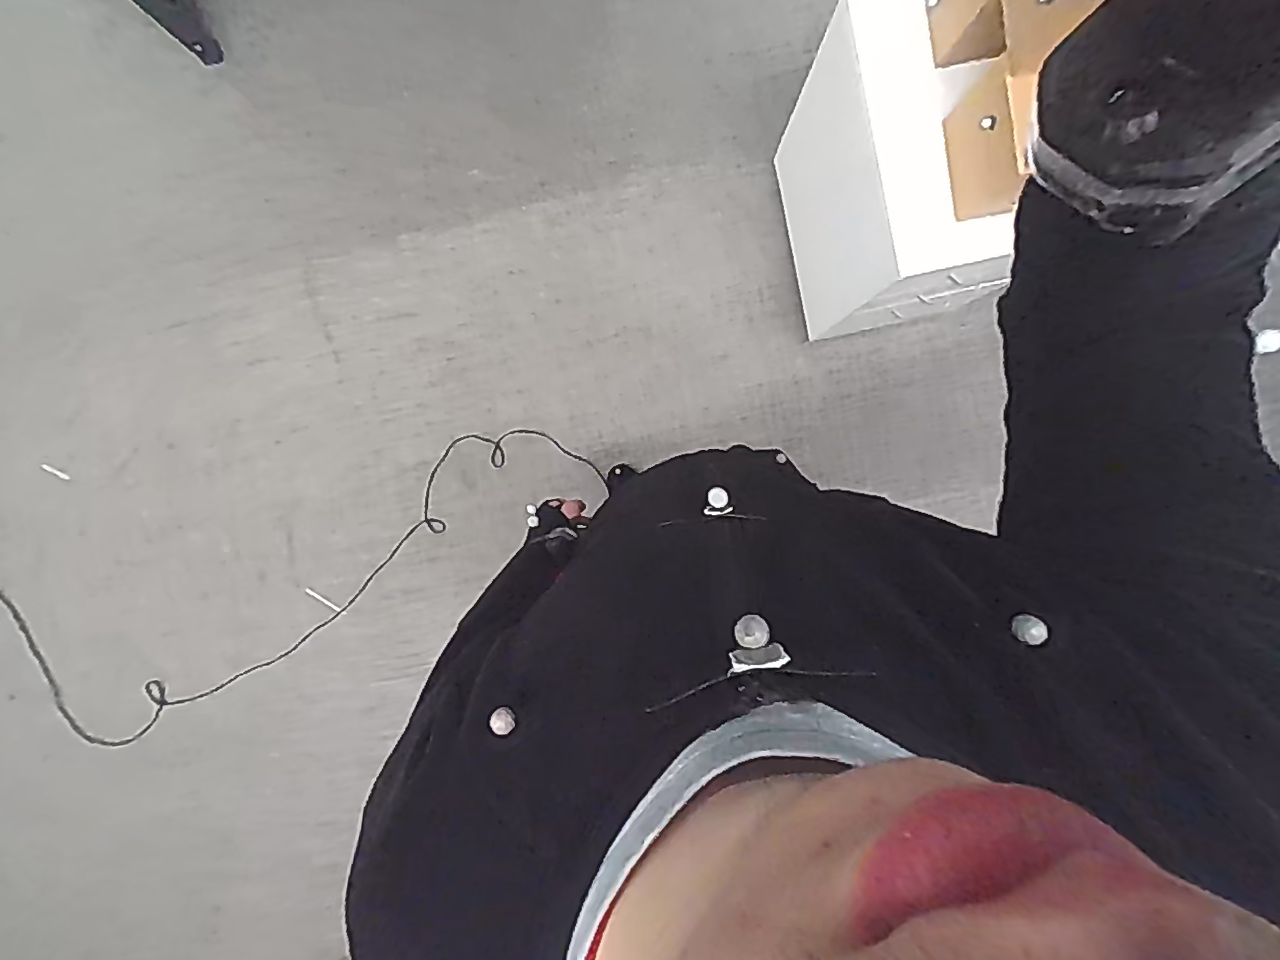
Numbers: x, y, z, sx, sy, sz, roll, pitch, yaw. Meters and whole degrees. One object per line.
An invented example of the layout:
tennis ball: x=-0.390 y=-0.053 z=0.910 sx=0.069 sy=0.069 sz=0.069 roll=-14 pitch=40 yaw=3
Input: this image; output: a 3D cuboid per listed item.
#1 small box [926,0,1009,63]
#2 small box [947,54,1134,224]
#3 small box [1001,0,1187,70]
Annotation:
small box: x=0.566 y=-0.789 z=0.834 sx=0.168 sy=0.176 sz=0.179 roll=-12 pitch=95 yaw=2
small box: x=0.609 y=-0.533 z=0.845 sx=0.168 sy=0.176 sz=0.179 roll=-9 pitch=93 yaw=2
small box: x=0.587 y=-0.657 z=0.678 sx=0.168 sy=0.176 sz=0.179 roll=-10 pitch=92 yaw=1
